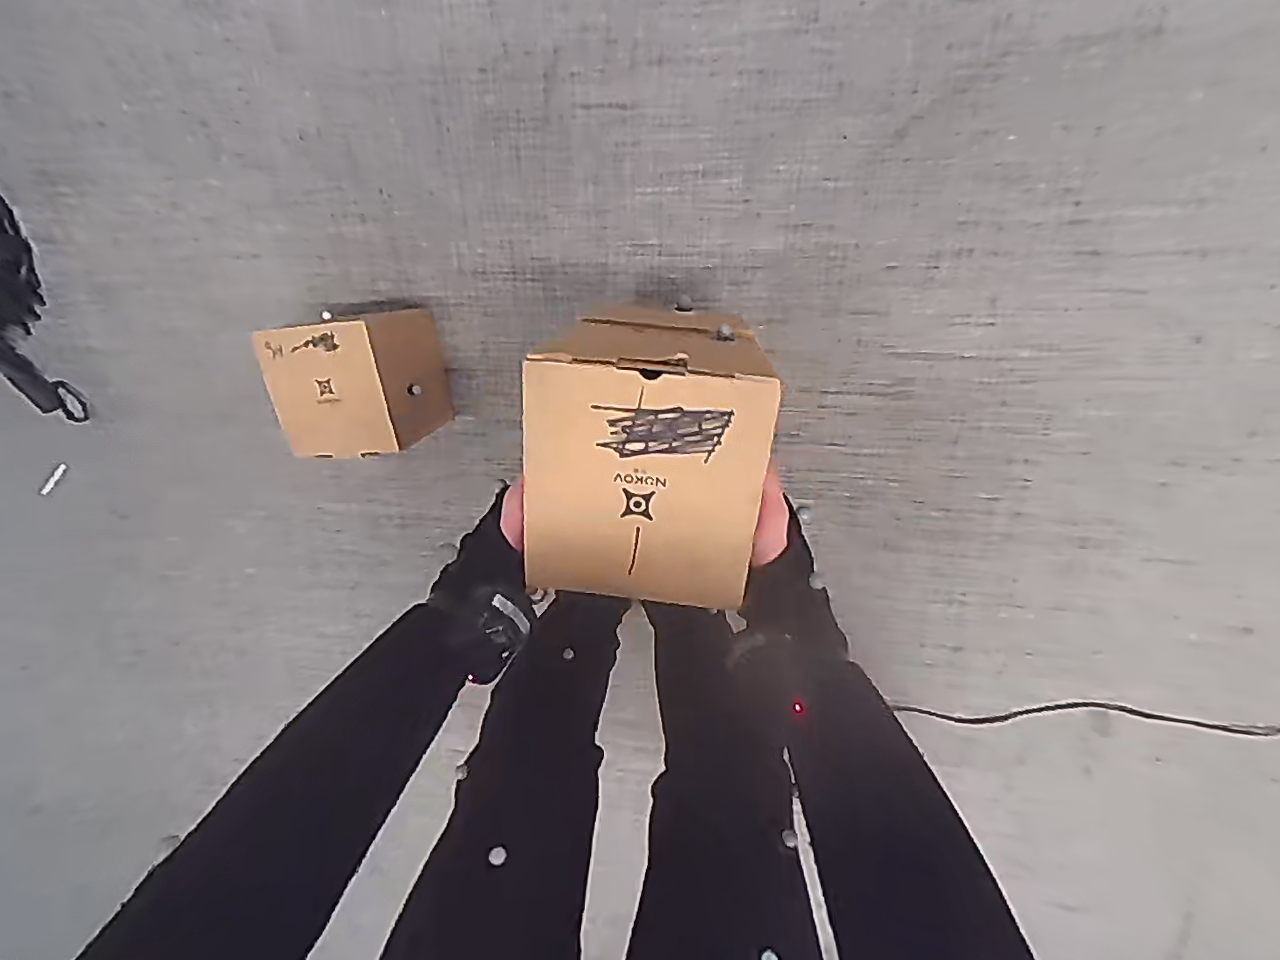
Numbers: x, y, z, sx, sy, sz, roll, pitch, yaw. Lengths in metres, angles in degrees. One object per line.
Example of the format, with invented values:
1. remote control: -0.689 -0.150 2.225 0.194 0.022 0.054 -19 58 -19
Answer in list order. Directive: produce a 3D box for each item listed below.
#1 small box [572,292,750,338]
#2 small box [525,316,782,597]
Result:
1. small box: 0.023 -0.104 0.591 0.168 0.176 0.179 5 113 4
2. small box: 0.009 -0.032 0.444 0.168 0.176 0.179 6 116 4
